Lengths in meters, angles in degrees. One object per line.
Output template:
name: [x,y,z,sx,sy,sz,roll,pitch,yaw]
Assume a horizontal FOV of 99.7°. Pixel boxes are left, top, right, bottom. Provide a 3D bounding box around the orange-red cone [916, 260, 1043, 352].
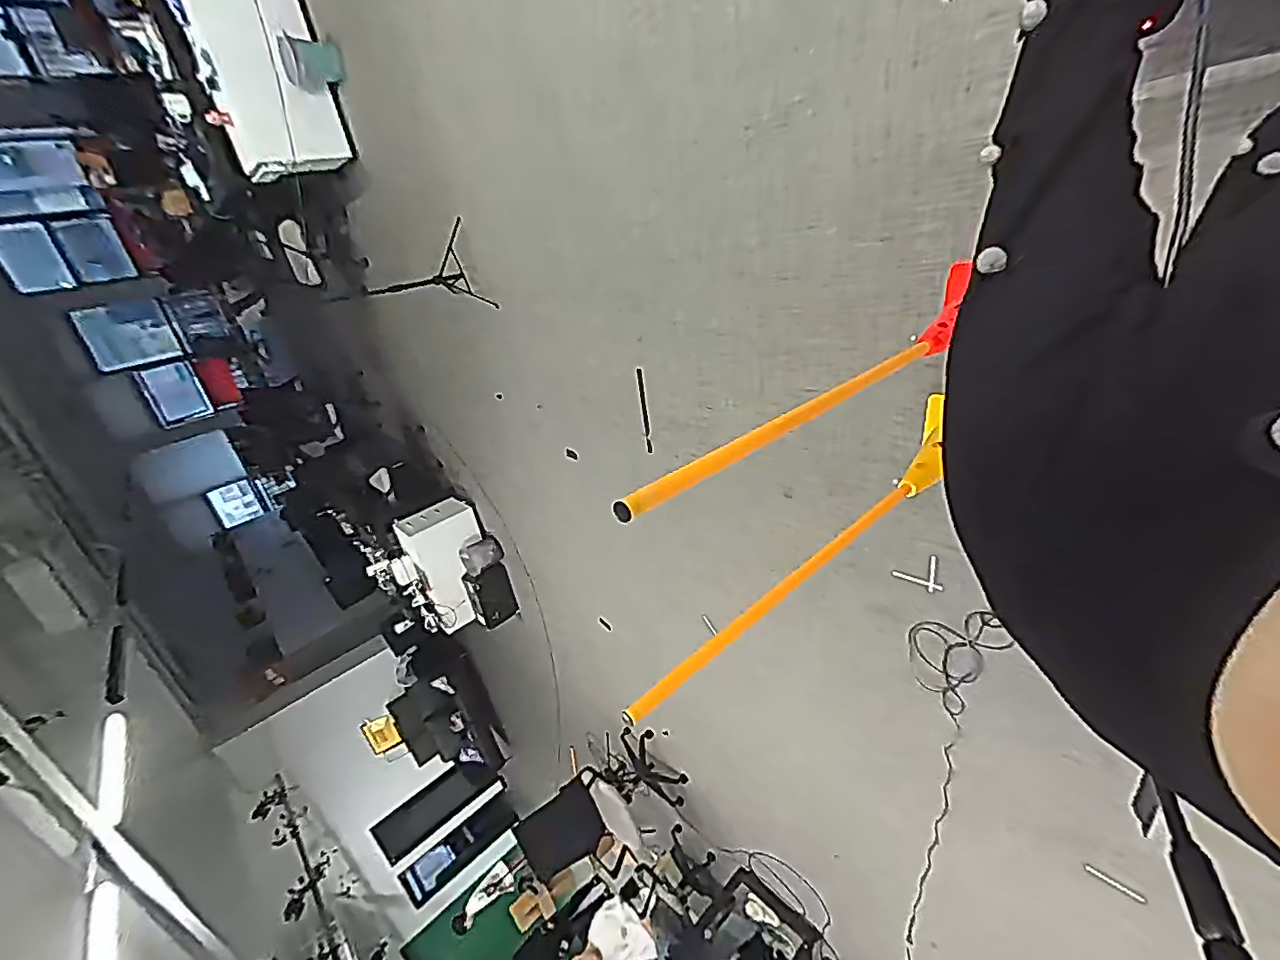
orange-red cone: [0.692,-0.344,1.178,0.198,0.360,0.199,26,131,39]
